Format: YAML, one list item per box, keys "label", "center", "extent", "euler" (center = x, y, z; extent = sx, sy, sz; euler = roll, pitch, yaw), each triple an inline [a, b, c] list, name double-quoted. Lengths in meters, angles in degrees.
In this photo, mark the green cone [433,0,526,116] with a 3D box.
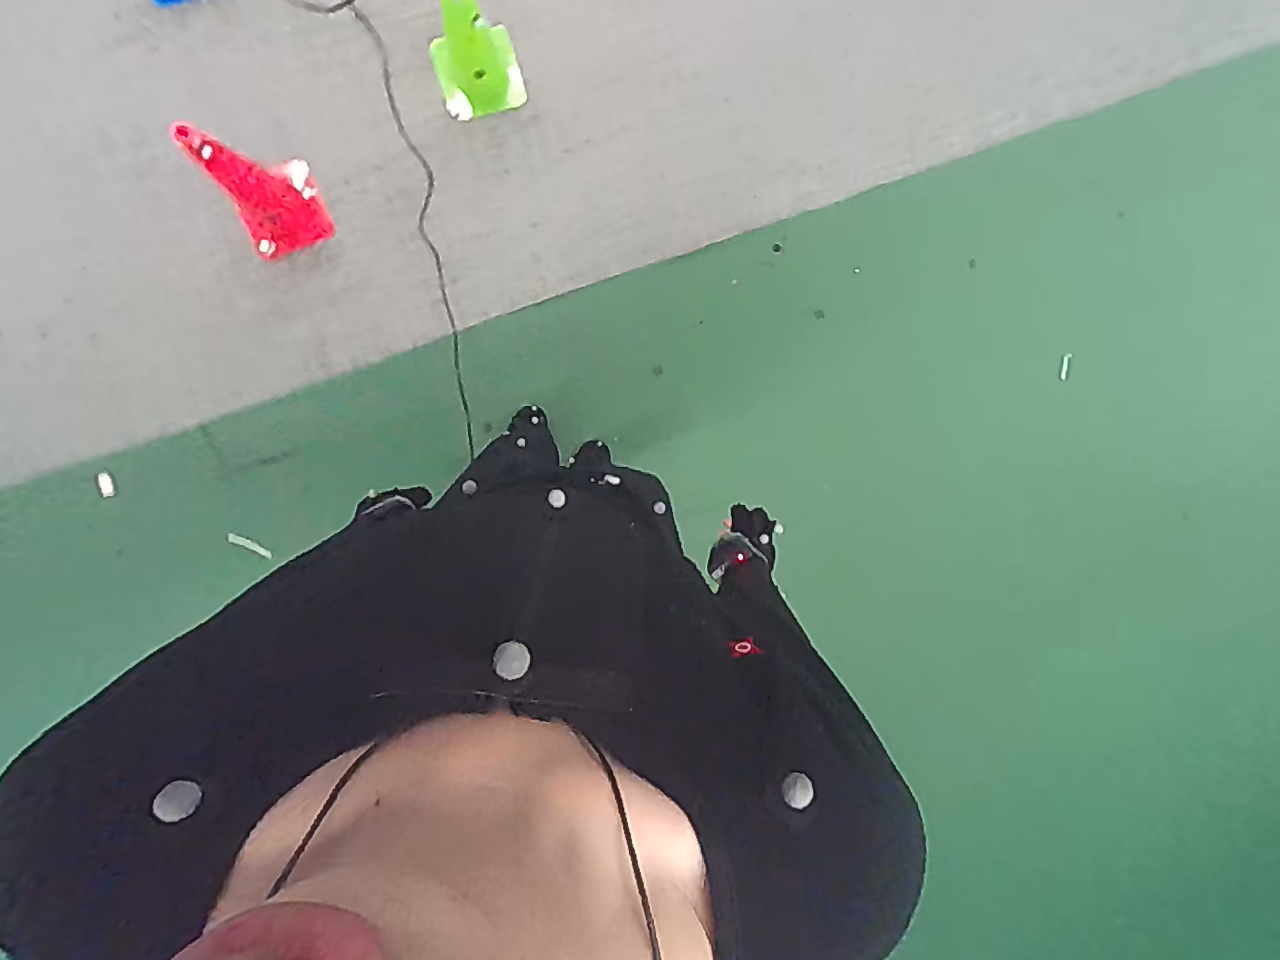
- label: "green cone"
  center: [-0.391, -1.042, 1.215]
  extent: [0.200, 0.368, 0.202]
  euler: [-18, 95, -5]
